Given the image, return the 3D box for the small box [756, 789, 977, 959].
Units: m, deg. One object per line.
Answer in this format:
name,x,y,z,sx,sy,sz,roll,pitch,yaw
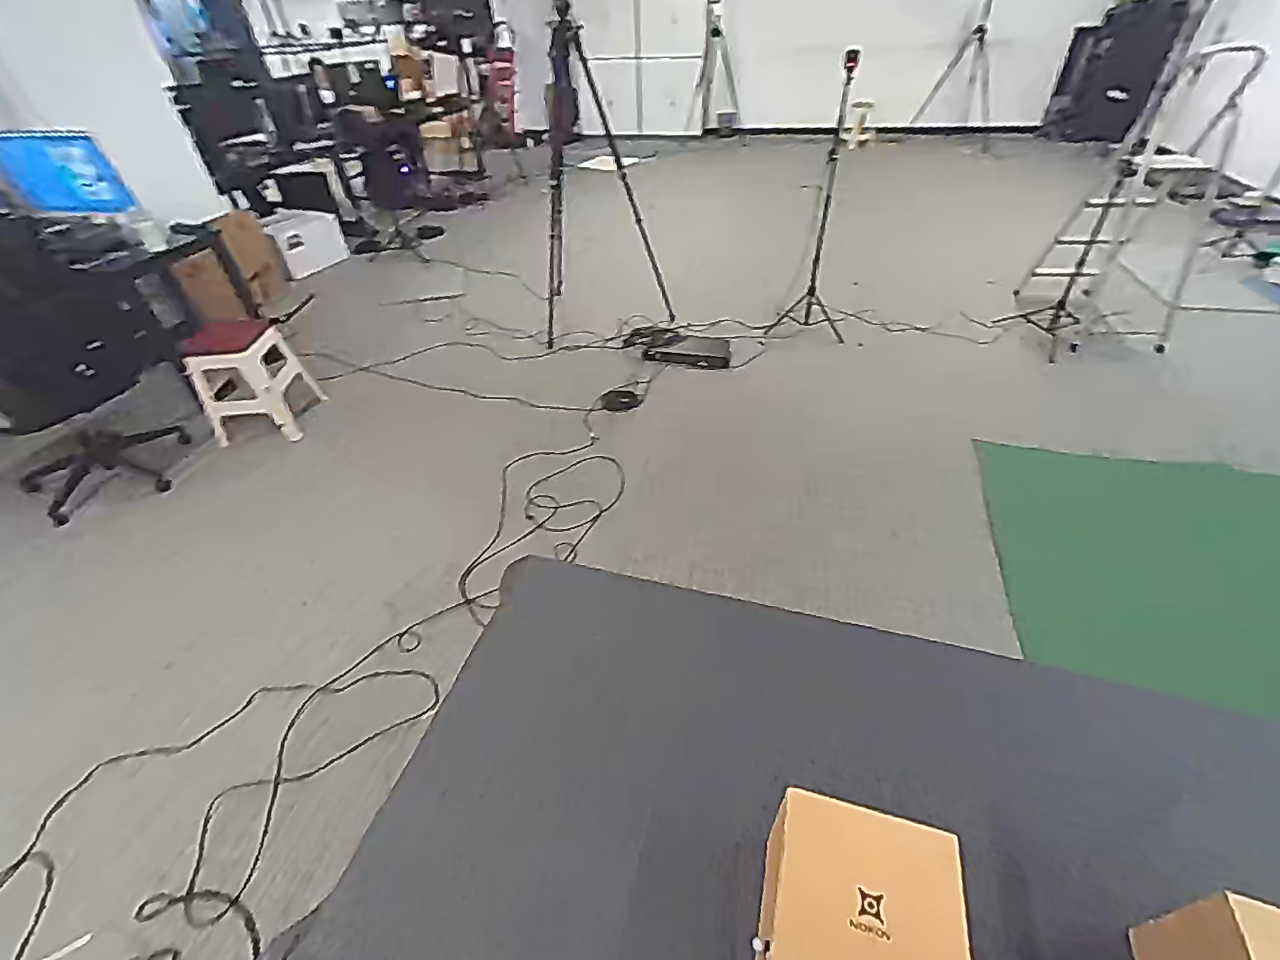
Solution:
small box,0.212,0.451,0.537,0.168,0.176,0.179,11,43,13
